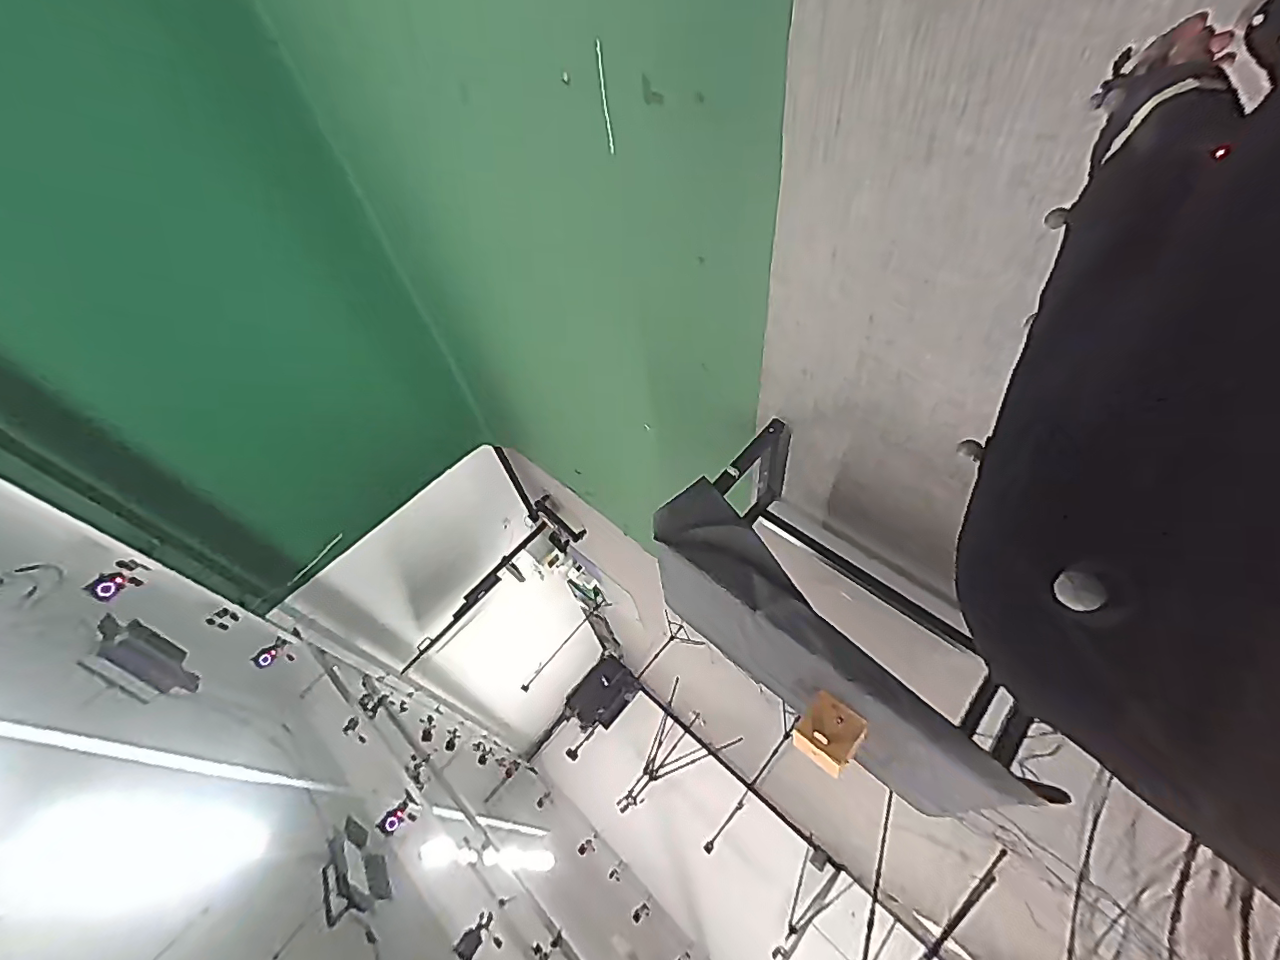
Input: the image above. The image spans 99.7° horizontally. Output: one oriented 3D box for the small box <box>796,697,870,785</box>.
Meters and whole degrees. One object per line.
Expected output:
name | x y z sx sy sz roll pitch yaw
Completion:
small box | 0.622 0.838 1.742 0.168 0.176 0.179 30 153 35
